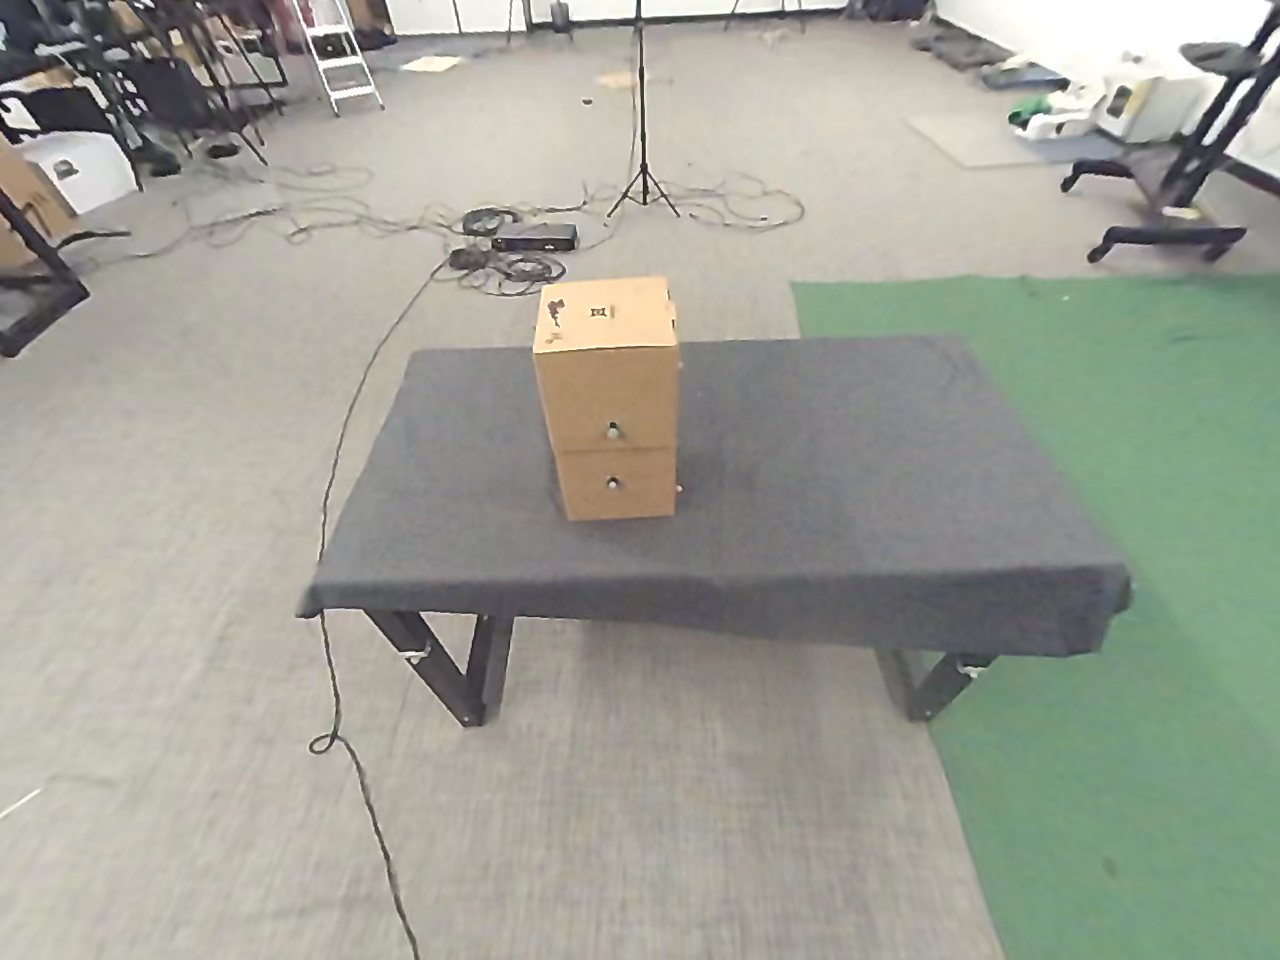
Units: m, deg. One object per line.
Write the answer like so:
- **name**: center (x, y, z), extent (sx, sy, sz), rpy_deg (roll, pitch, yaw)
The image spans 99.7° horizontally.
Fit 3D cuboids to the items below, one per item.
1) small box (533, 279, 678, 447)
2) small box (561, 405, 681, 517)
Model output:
- **small box**: center (-0.043, -0.161, 0.756), extent (0.179, 0.176, 0.168), rpy_deg (-3, 48, -1)
- **small box**: center (-0.034, -0.056, 0.881), extent (0.179, 0.176, 0.168), rpy_deg (-5, 49, -3)
